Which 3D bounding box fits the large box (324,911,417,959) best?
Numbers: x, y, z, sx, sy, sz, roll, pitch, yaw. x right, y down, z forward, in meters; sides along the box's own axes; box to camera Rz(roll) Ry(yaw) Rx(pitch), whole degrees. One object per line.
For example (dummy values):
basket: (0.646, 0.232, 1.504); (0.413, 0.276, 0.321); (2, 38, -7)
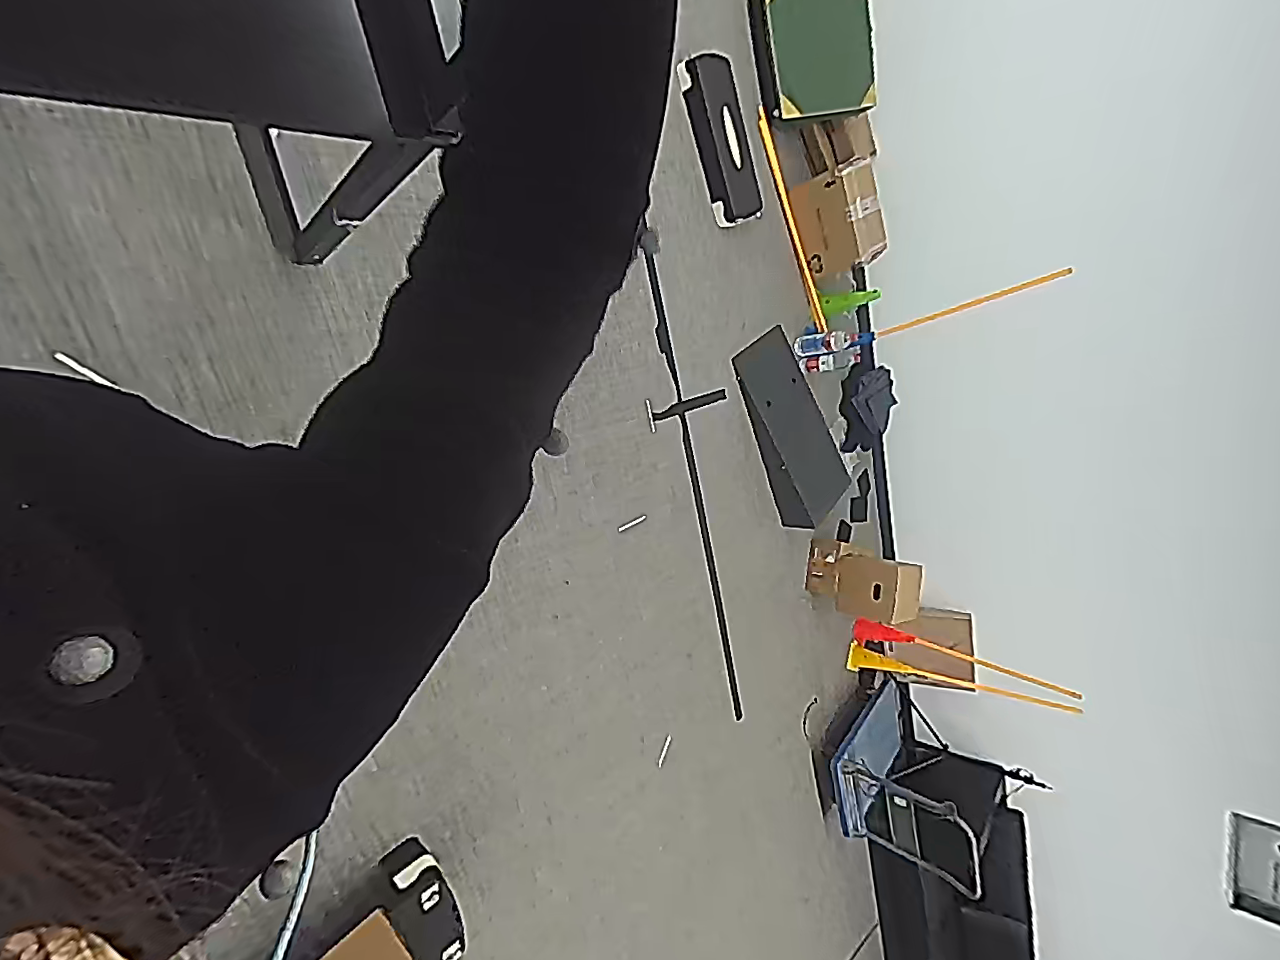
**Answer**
large box: (-0.613, 1.246, 1.109); (0.408, 0.320, 0.320); (-29, 111, -42)
